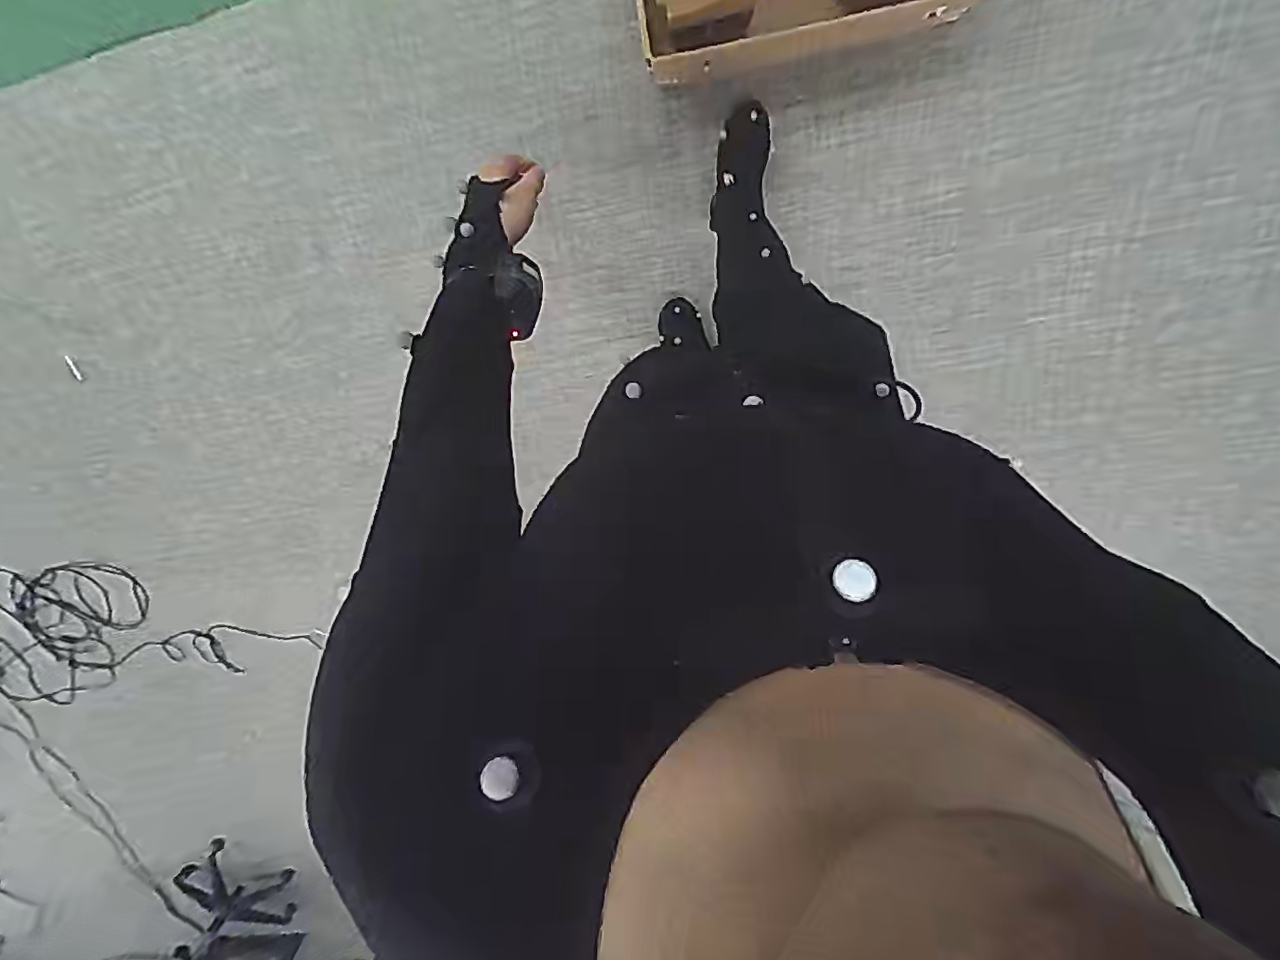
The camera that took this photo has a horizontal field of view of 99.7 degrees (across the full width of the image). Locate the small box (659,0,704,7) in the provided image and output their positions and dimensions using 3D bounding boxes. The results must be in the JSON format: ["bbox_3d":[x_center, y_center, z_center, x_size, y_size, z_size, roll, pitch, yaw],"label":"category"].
[{"bbox_3d":[0.094,-0.838,0.800,0.168,0.176,0.179,-6,117,8],"label":"small box"}]
